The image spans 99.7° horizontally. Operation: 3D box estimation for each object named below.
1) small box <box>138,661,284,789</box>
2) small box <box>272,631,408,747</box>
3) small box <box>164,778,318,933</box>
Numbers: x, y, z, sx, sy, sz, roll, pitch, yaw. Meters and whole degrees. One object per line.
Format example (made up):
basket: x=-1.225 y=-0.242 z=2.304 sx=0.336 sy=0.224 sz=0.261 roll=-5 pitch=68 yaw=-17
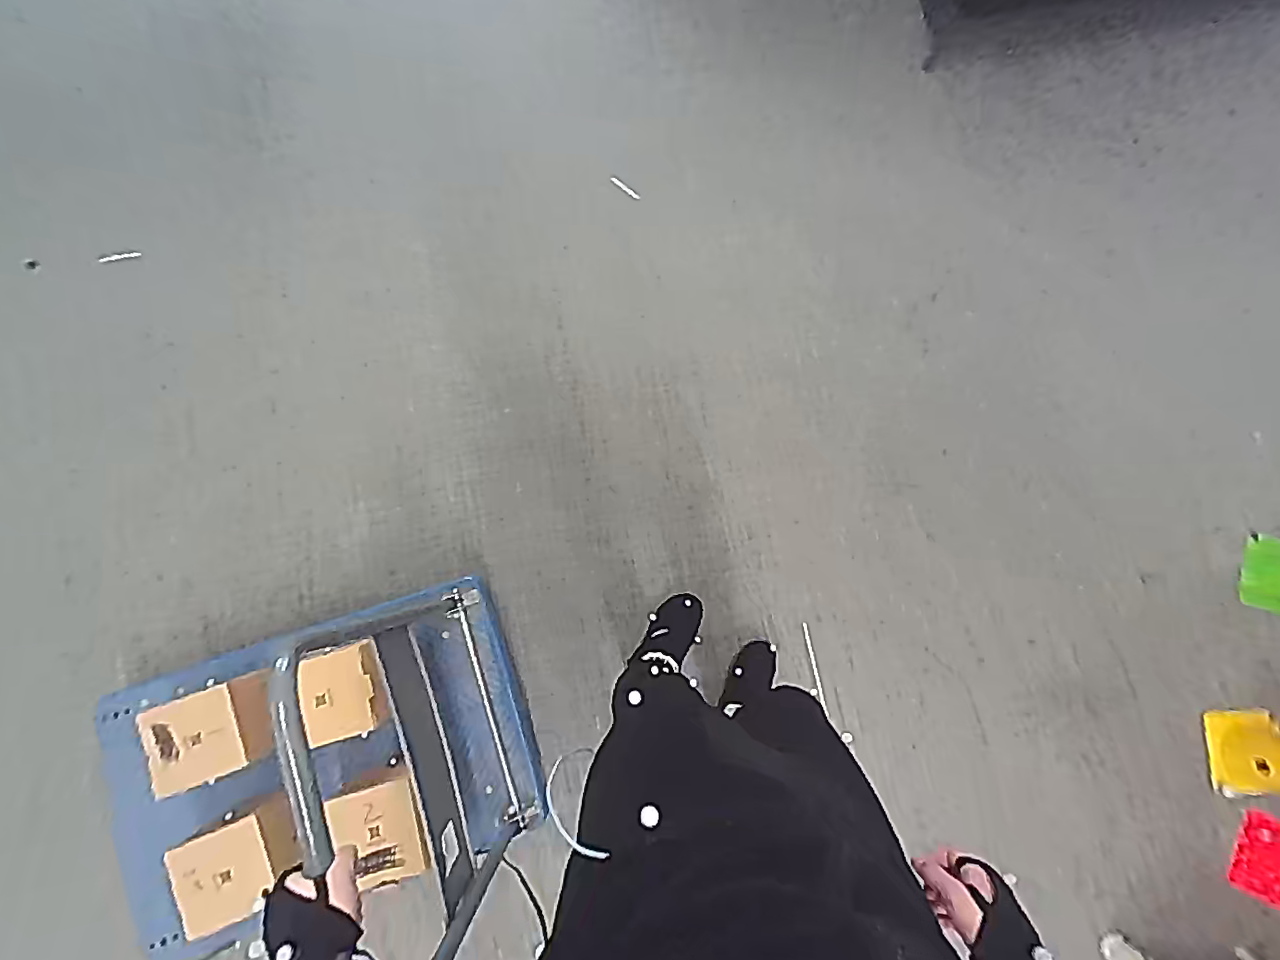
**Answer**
small box: x=-0.856 y=0.490 z=1.108 sx=0.179 sy=0.176 sz=0.168 roll=-19 pitch=85 yaw=-5
small box: x=-0.617 y=0.426 z=1.129 sx=0.179 sy=0.176 sz=0.168 roll=-15 pitch=84 yaw=-4
small box: x=-0.780 y=0.733 z=1.080 sx=0.179 sy=0.176 sz=0.168 roll=-20 pitch=83 yaw=-5
